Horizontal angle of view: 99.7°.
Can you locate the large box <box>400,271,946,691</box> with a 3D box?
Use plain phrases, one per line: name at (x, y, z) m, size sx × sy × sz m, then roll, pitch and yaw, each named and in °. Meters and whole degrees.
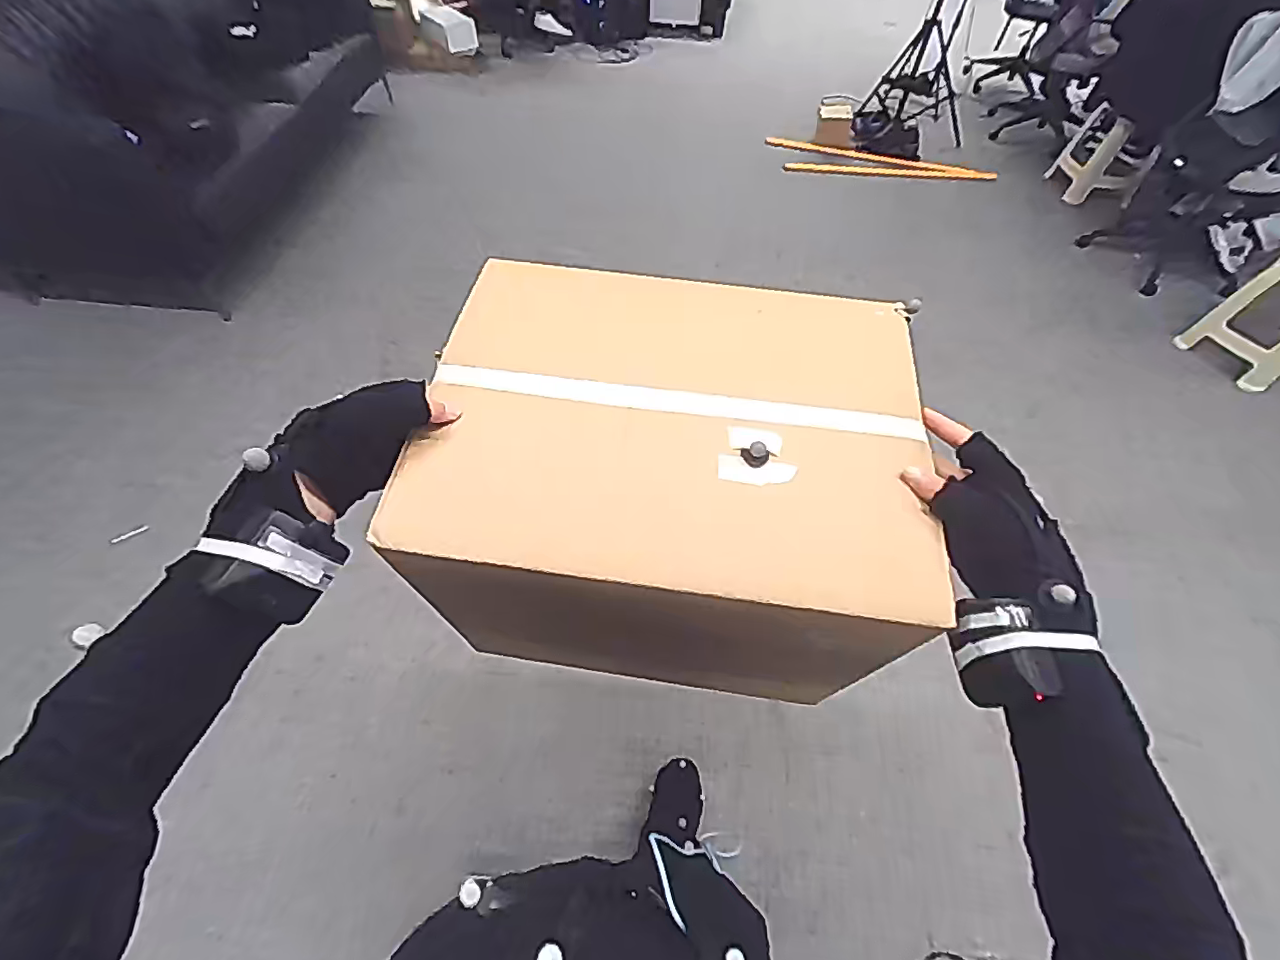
large box at (0.031, 0.017, 0.588) m, size 0.408 × 0.320 × 0.320 m, roll 8°, pitch 59°, yaw 2°
